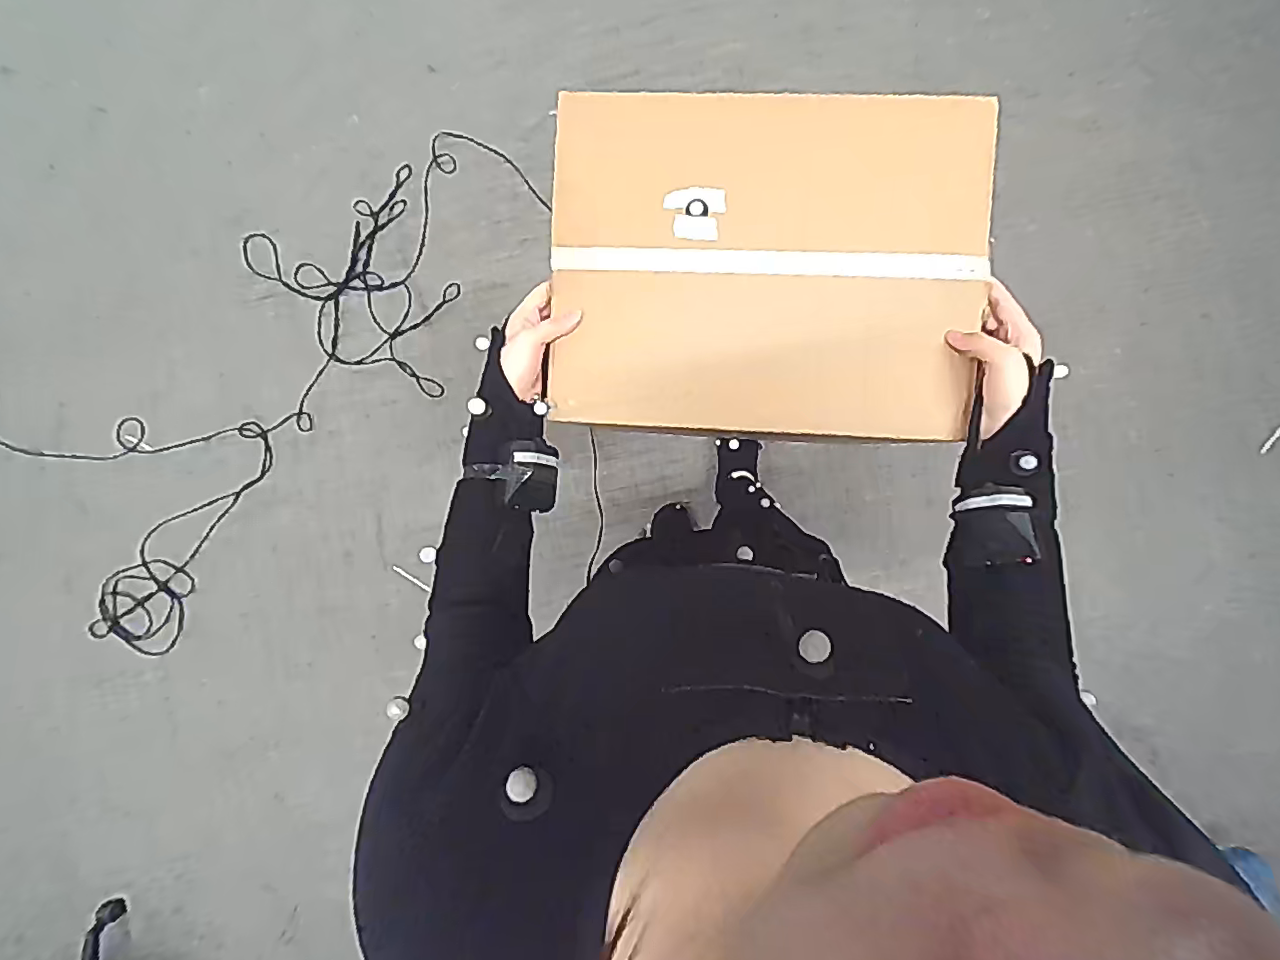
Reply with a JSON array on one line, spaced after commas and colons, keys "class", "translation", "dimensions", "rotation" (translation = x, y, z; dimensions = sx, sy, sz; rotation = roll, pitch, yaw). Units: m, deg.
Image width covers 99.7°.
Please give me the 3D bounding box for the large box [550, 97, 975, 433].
[{"class": "large box", "translation": [0.124, -0.218, 0.674], "dimensions": [0.408, 0.320, 0.320], "rotation": [3, 94, 5]}]
